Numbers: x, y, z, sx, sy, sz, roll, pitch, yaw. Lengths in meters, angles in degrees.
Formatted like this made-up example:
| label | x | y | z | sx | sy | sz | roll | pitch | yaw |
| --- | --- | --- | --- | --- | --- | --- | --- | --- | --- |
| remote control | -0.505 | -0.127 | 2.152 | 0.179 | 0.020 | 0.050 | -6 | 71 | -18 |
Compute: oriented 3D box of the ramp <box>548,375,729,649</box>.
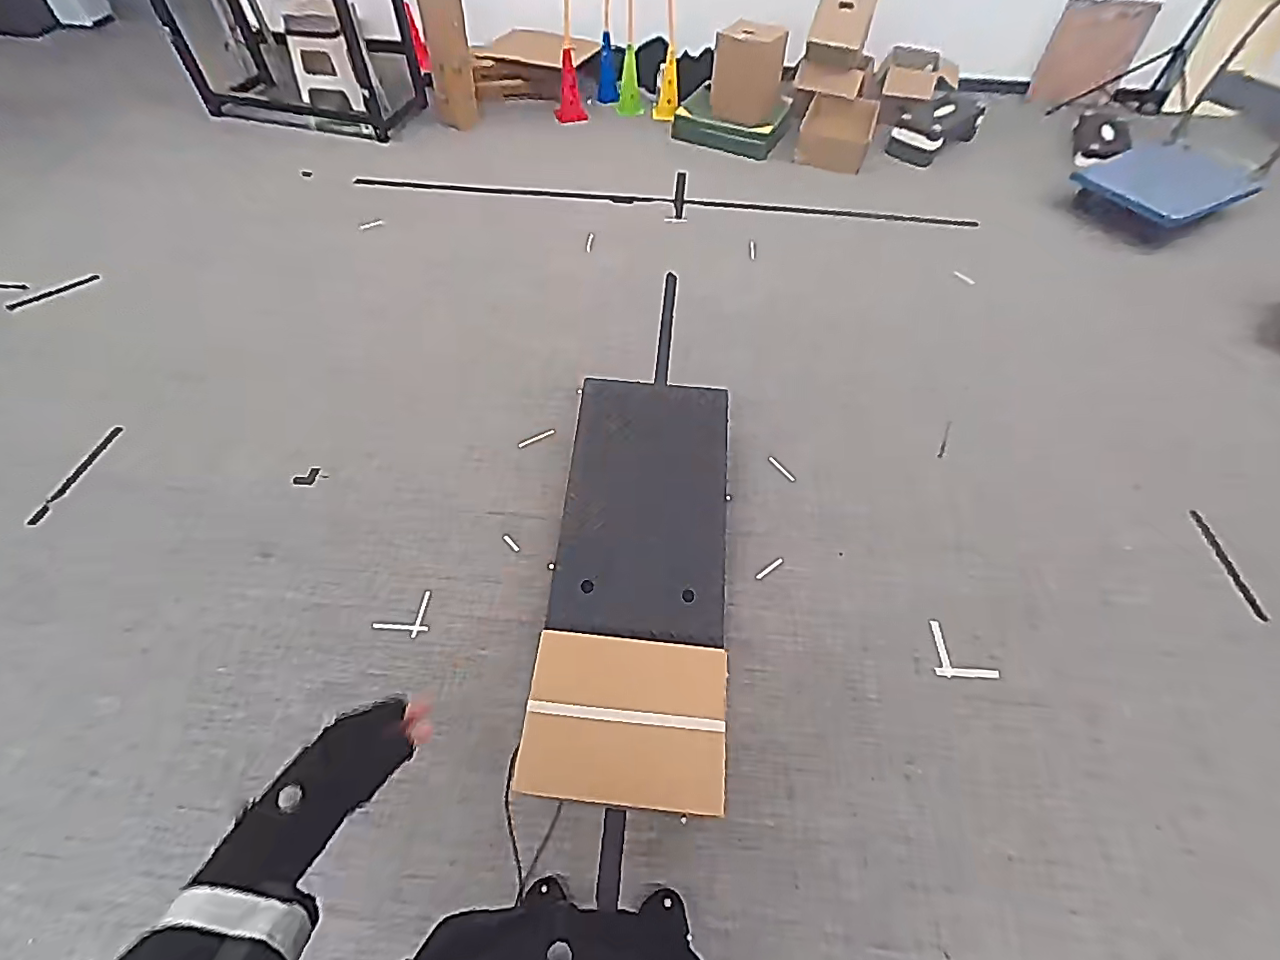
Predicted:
| label | x | y | z | sx | sy | sz | roll | pitch | yaw |
| --- | --- | --- | --- | --- | --- | --- | --- | --- | --- |
| ramp | 0.021 | 0.114 | 1.627 | 0.509 | 0.206 | 0.991 | 4 | 55 | -1 |

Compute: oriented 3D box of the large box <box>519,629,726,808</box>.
| label | x | y | z | sx | sy | sz | roll | pitch | yaw |
| --- | --- | --- | --- | --- | --- | --- | --- | --- | --- |
| large box | -0.025 | 0.550 | 1.233 | 0.408 | 0.320 | 0.320 | 5 | 58 | 2 |
